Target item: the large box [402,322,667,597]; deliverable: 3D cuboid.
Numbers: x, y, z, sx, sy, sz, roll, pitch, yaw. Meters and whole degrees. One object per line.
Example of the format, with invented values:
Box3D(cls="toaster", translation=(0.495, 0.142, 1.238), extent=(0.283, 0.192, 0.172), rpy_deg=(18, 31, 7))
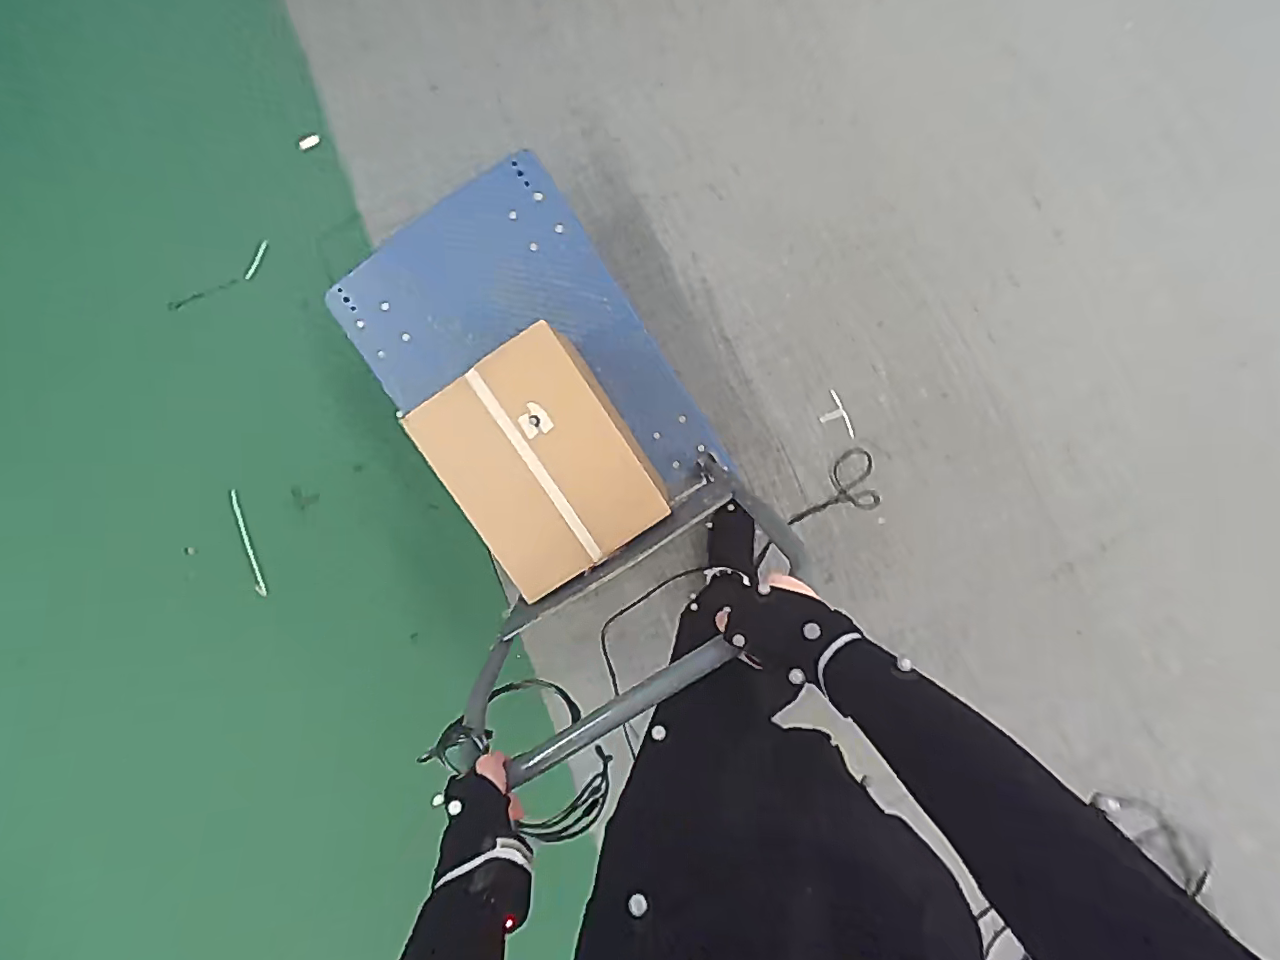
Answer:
Box3D(cls="large box", translation=(-0.179, -0.046, 1.101), extent=(0.320, 0.320, 0.408), rpy_deg=(-33, 95, 4))
